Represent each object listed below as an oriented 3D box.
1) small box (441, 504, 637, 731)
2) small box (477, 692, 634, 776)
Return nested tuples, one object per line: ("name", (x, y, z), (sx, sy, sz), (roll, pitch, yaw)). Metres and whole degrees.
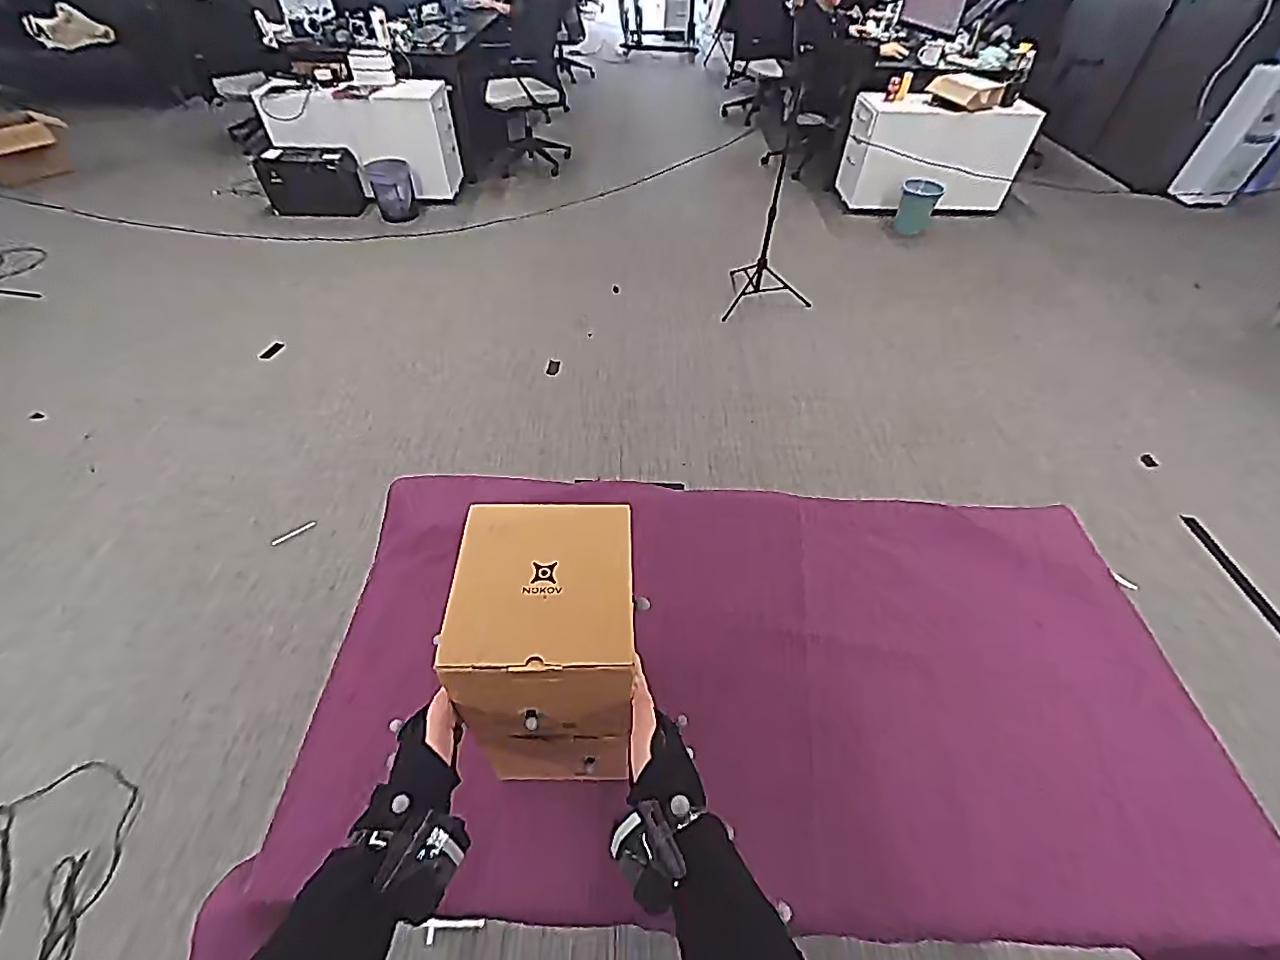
("small box", (-0.090, 0.144, 0.562), (0.168, 0.176, 0.179), (1, 49, -3))
("small box", (-0.091, 0.258, 0.678), (0.168, 0.176, 0.179), (2, 48, -1))
